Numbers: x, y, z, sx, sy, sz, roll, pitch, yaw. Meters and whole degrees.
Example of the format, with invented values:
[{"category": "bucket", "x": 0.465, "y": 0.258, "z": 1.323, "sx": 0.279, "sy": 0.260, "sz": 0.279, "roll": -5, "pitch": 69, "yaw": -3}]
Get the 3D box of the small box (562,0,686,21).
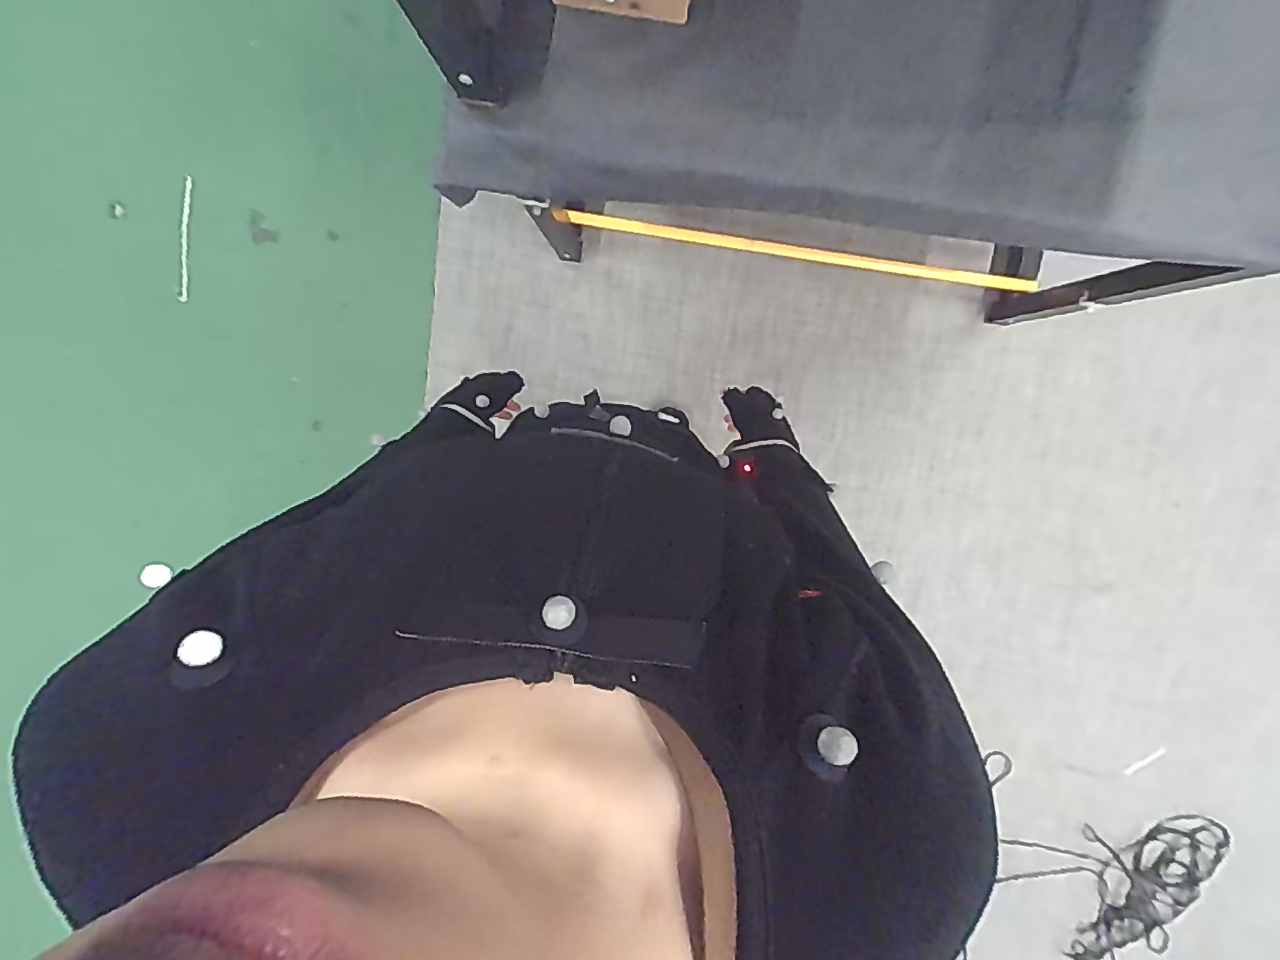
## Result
[{"category": "small box", "x": -0.016, "y": -0.644, "z": 0.567, "sx": 0.168, "sy": 0.176, "sz": 0.179, "roll": 8, "pitch": 99, "yaw": -1}]
